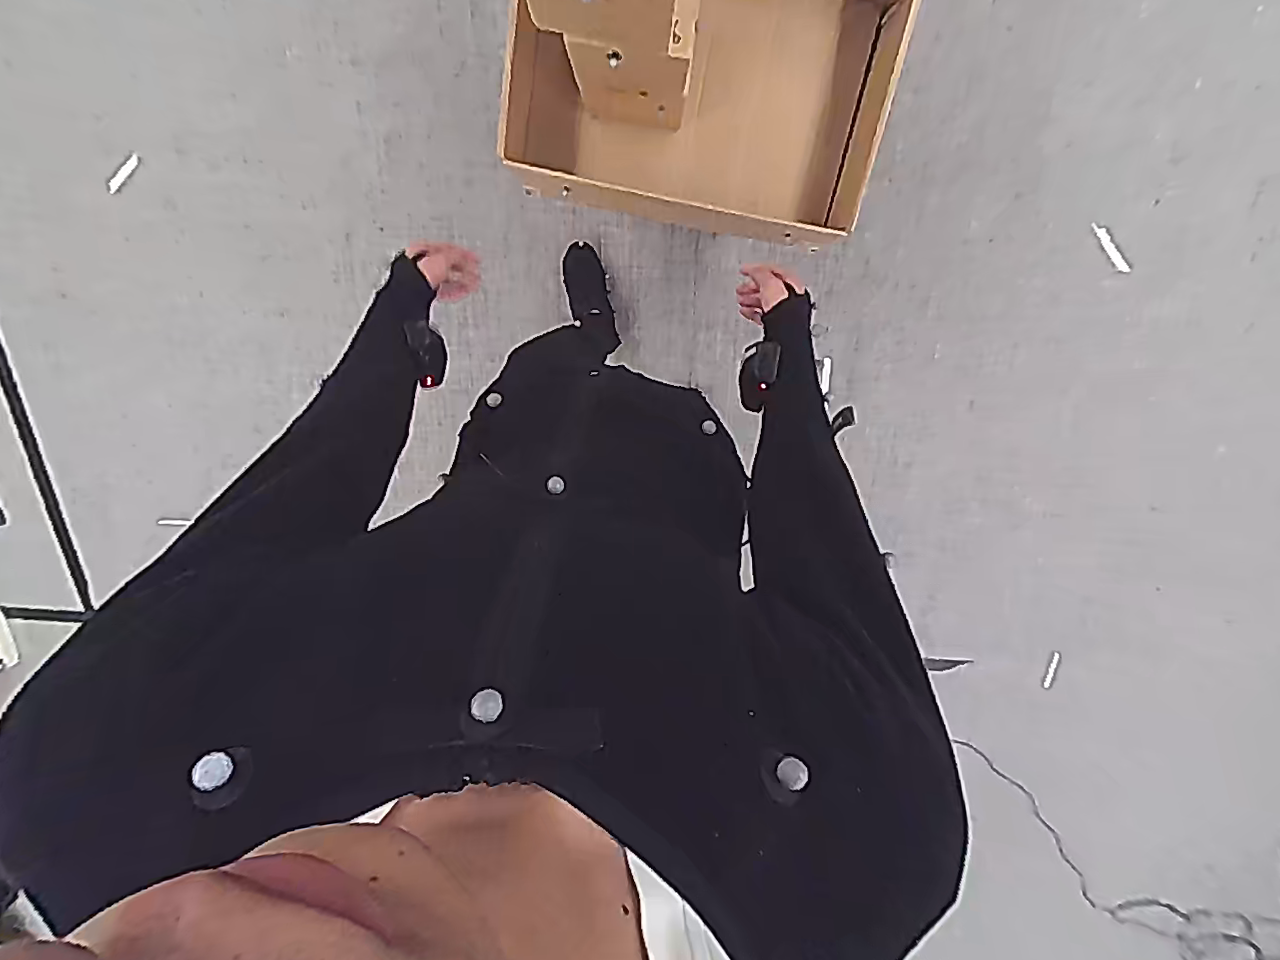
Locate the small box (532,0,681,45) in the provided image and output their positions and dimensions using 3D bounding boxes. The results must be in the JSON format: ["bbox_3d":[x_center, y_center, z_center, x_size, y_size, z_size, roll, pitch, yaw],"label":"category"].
[{"bbox_3d":[-0.028,-0.606,0.578,0.179,0.176,0.168,10,108,-3],"label":"small box"}]

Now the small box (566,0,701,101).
[{"bbox_3d":[-0.002,-0.655,0.733,0.168,0.176,0.179,8,108,-2],"label":"small box"}]
